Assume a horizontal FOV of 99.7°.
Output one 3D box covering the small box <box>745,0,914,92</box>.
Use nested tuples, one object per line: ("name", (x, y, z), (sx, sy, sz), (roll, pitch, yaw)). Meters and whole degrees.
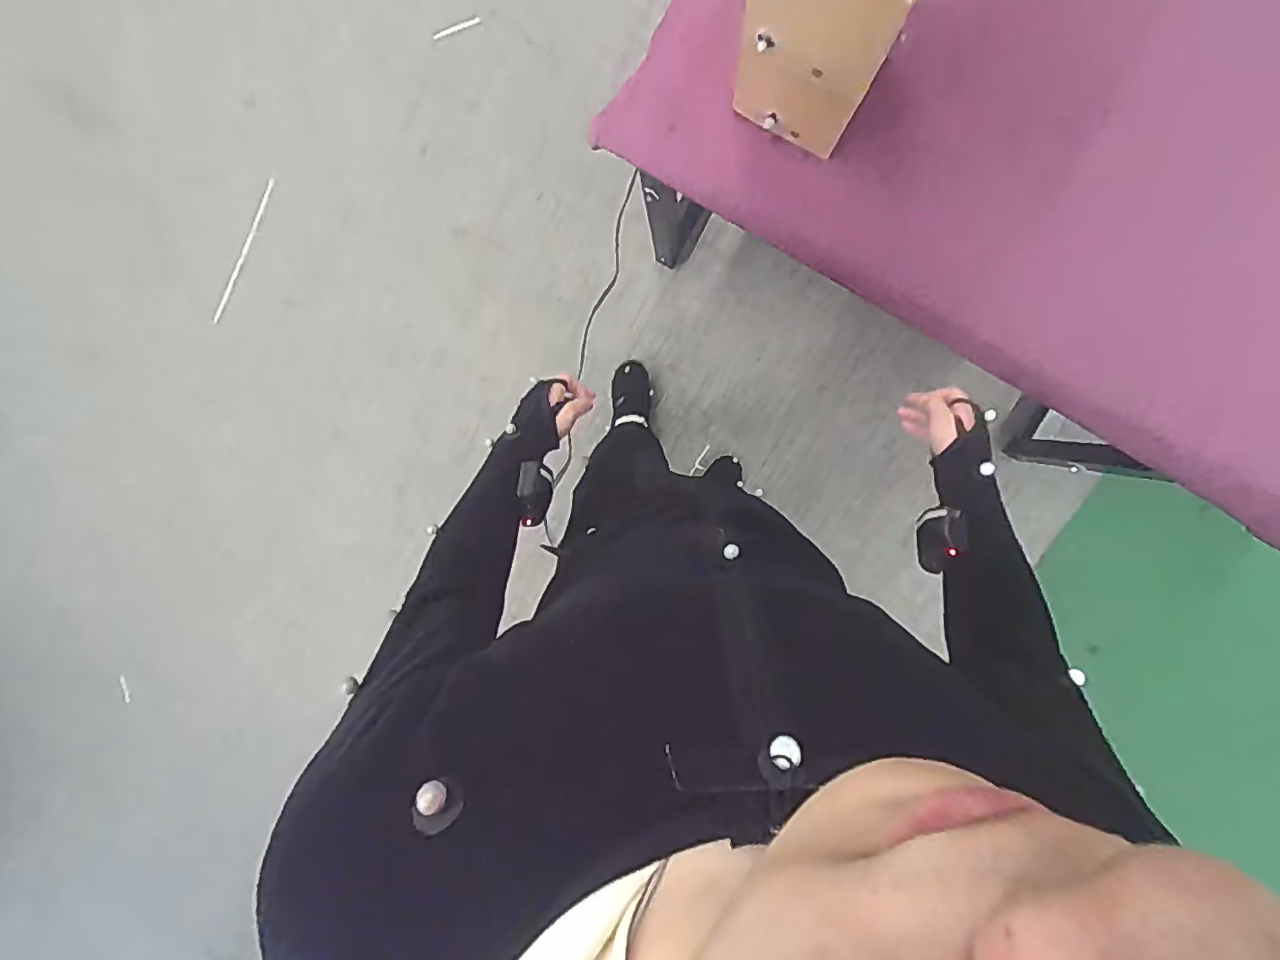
("small box", (0.221, -0.557, 0.558), (0.168, 0.176, 0.179), (28, 98, 2))

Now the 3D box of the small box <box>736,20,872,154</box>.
("small box", (0.239, -0.585, 0.718), (0.168, 0.176, 0.179), (29, 99, 2))

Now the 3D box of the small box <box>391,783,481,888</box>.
("small box", (-0.630, 1.107, 1.695), (0.168, 0.176, 0.179), (36, 99, 0))
